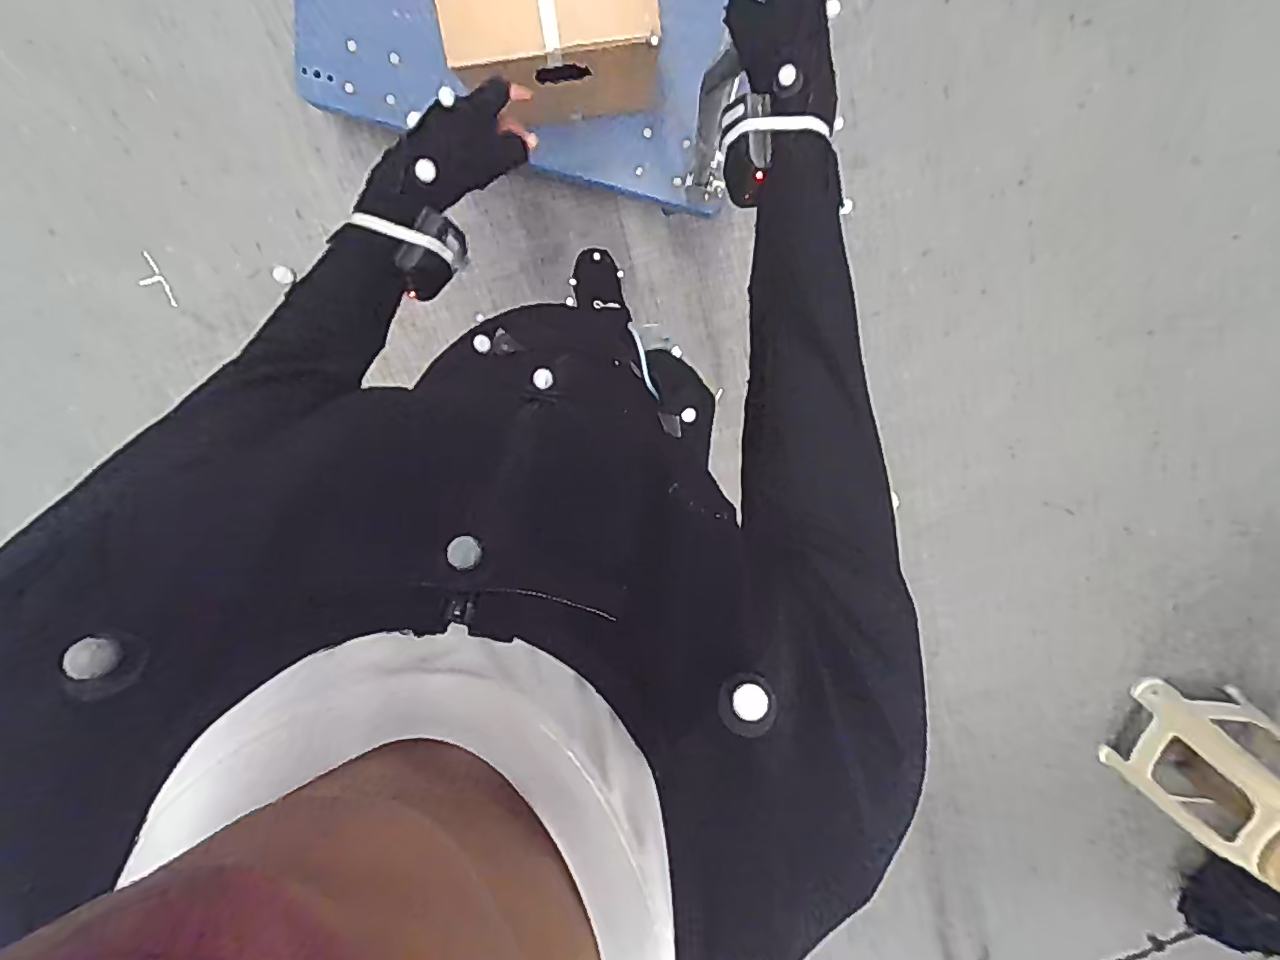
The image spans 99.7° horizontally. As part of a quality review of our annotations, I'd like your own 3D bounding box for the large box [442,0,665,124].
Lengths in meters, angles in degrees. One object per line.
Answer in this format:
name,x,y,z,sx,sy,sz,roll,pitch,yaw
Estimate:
large box,-0.143,-0.848,0.852,0.320,0.320,0.408,-6,110,2
